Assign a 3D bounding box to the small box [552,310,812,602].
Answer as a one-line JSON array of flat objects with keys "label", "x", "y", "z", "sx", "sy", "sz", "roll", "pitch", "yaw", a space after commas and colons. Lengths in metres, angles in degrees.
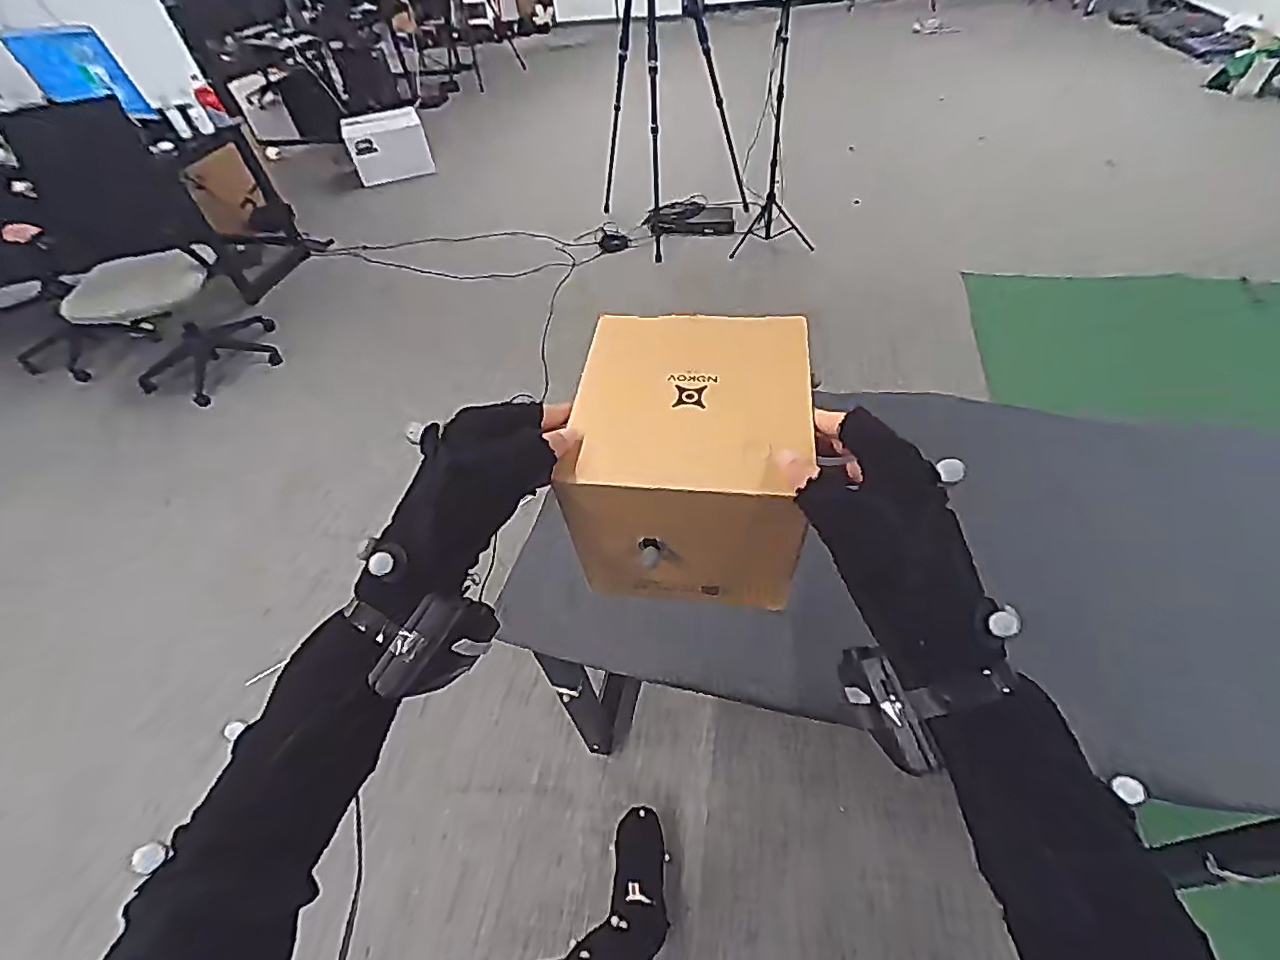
[{"label": "small box", "x": 0.043, "y": -0.016, "z": 0.442, "sx": 0.168, "sy": 0.176, "sz": 0.179, "roll": 3, "pitch": 52, "yaw": 9}]
